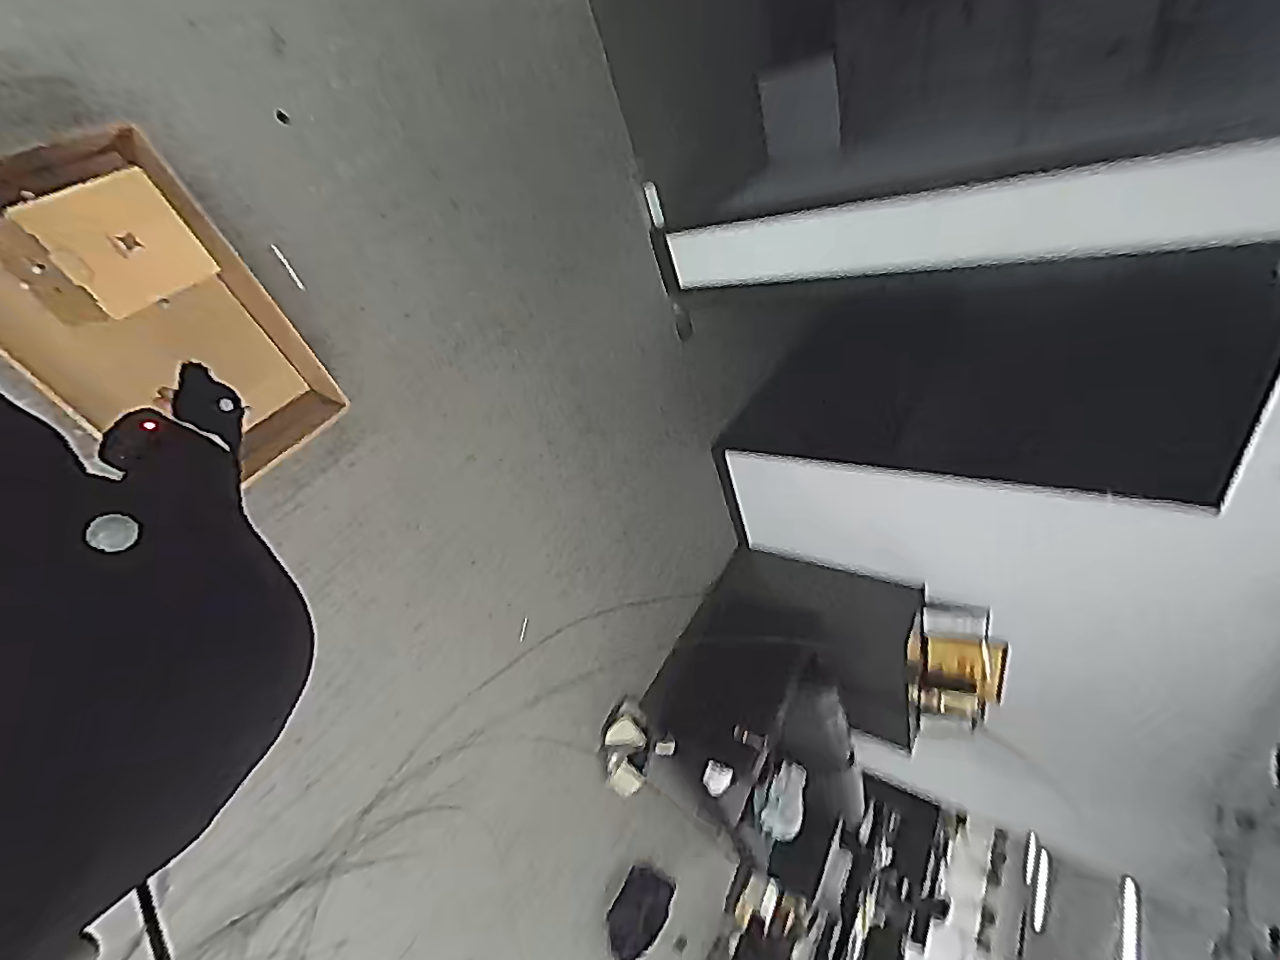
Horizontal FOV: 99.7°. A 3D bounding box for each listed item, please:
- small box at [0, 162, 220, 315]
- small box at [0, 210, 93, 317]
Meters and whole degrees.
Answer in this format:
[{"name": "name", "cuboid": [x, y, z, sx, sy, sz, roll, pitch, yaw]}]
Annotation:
[{"name": "small box", "cuboid": [-0.836, -0.378, 0.857, 0.179, 0.176, 0.168, -52, 137, -33]}, {"name": "small box", "cuboid": [-0.968, -0.402, 0.949, 0.179, 0.176, 0.168, -51, 136, -34]}]
